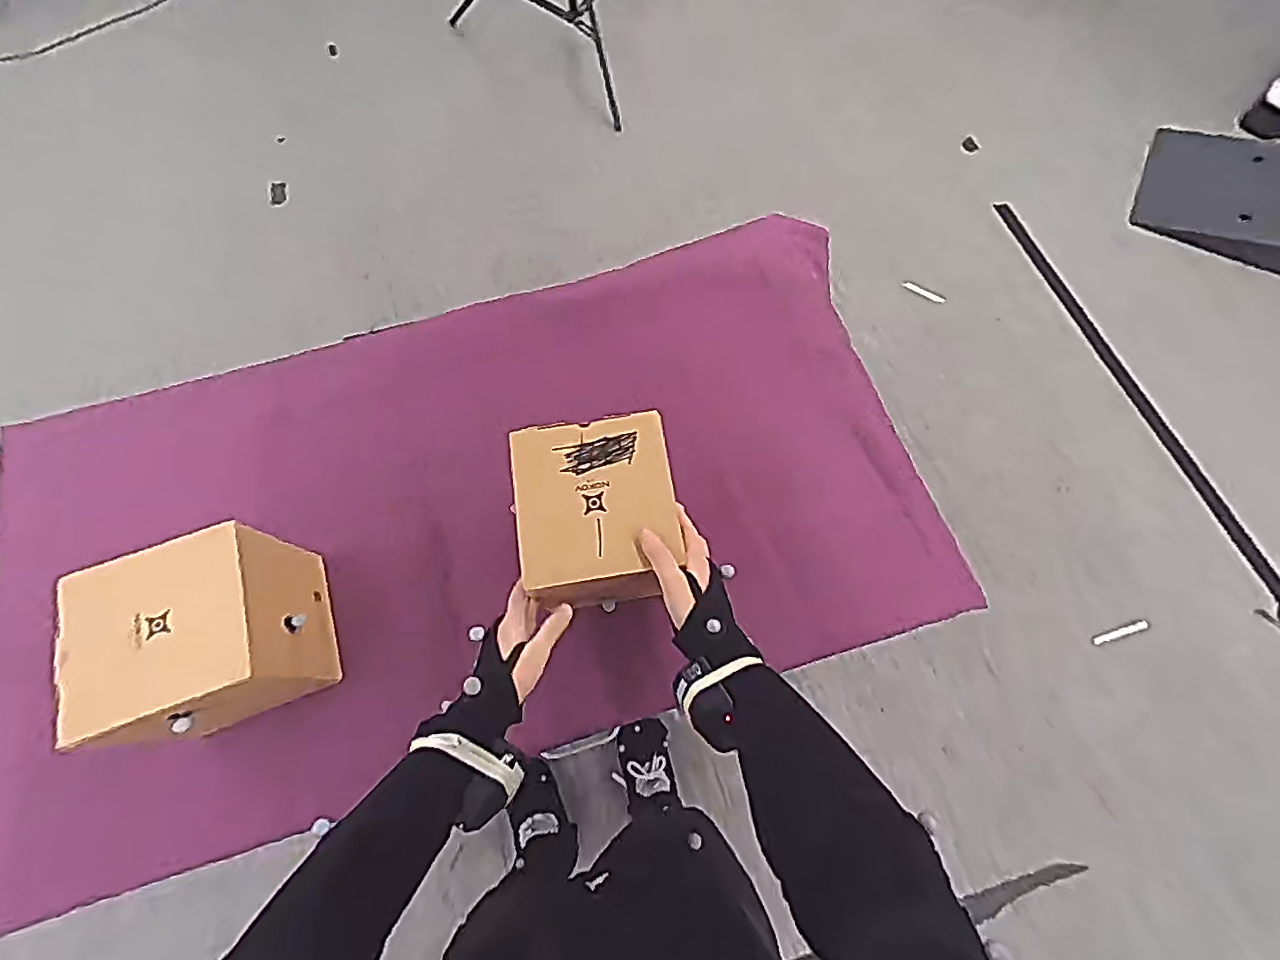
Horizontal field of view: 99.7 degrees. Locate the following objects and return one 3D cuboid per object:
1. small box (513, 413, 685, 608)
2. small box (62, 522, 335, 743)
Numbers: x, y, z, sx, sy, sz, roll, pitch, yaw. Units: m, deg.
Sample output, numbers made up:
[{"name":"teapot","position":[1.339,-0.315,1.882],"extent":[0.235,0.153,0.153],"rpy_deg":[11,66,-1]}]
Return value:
[{"name":"small box","position":[-0.047,0.043,0.638],"extent":[0.168,0.176,0.179],"rpy_deg":[-8,71,-2]},{"name":"small box","position":[-0.467,0.167,0.600],"extent":[0.179,0.176,0.168],"rpy_deg":[-20,71,-6]}]
